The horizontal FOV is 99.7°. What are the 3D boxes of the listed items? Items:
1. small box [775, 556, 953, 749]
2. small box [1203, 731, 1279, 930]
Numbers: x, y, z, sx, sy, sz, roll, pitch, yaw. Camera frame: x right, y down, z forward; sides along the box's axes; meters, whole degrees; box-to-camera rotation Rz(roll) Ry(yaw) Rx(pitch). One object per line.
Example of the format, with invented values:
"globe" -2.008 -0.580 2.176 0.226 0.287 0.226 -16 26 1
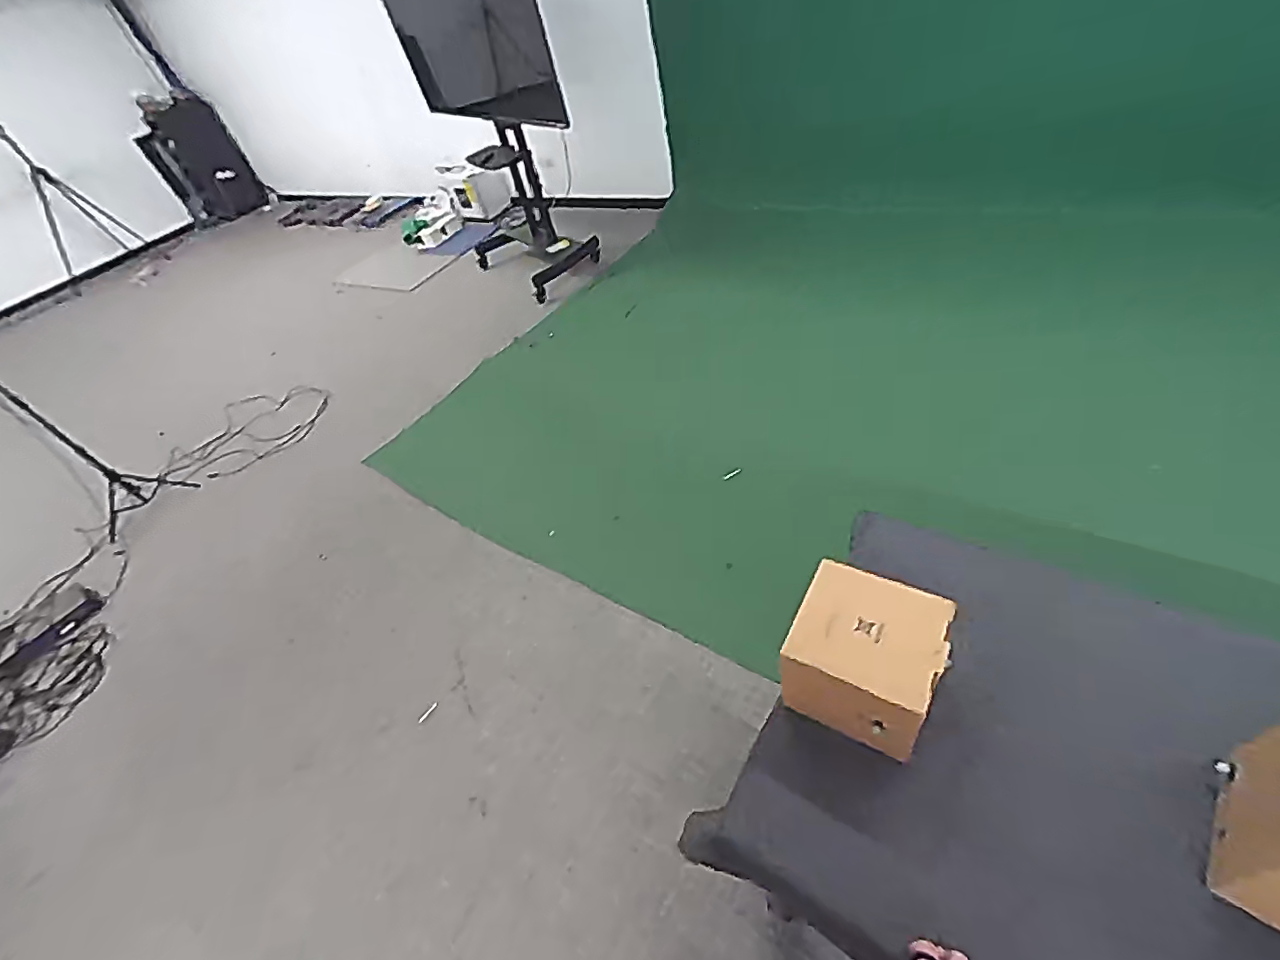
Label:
"small box" 0.300 0.238 0.739 0.179 0.176 0.168 16 52 30
"small box" 0.701 0.364 0.515 0.179 0.176 0.168 26 61 35
